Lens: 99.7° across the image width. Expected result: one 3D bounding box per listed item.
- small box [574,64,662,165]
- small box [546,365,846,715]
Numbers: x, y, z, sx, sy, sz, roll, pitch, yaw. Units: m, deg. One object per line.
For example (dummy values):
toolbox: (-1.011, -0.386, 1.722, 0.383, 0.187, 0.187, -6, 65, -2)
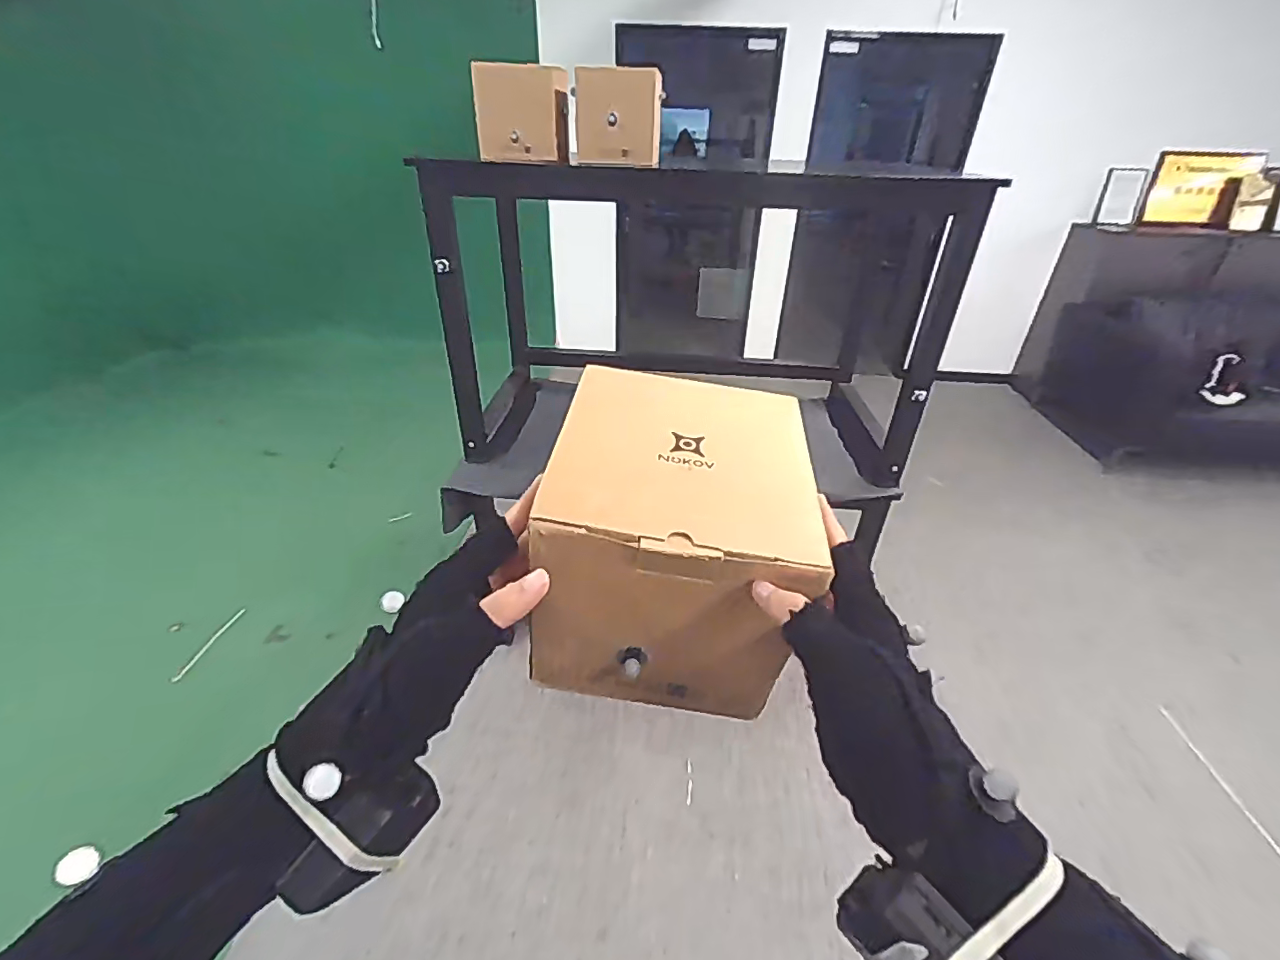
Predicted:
small box: (-0.043, -0.780, 1.162, 0.168, 0.176, 0.179, 5, 33, 3)
small box: (0.027, 0.041, 0.400, 0.168, 0.176, 0.179, 9, 41, 0)
